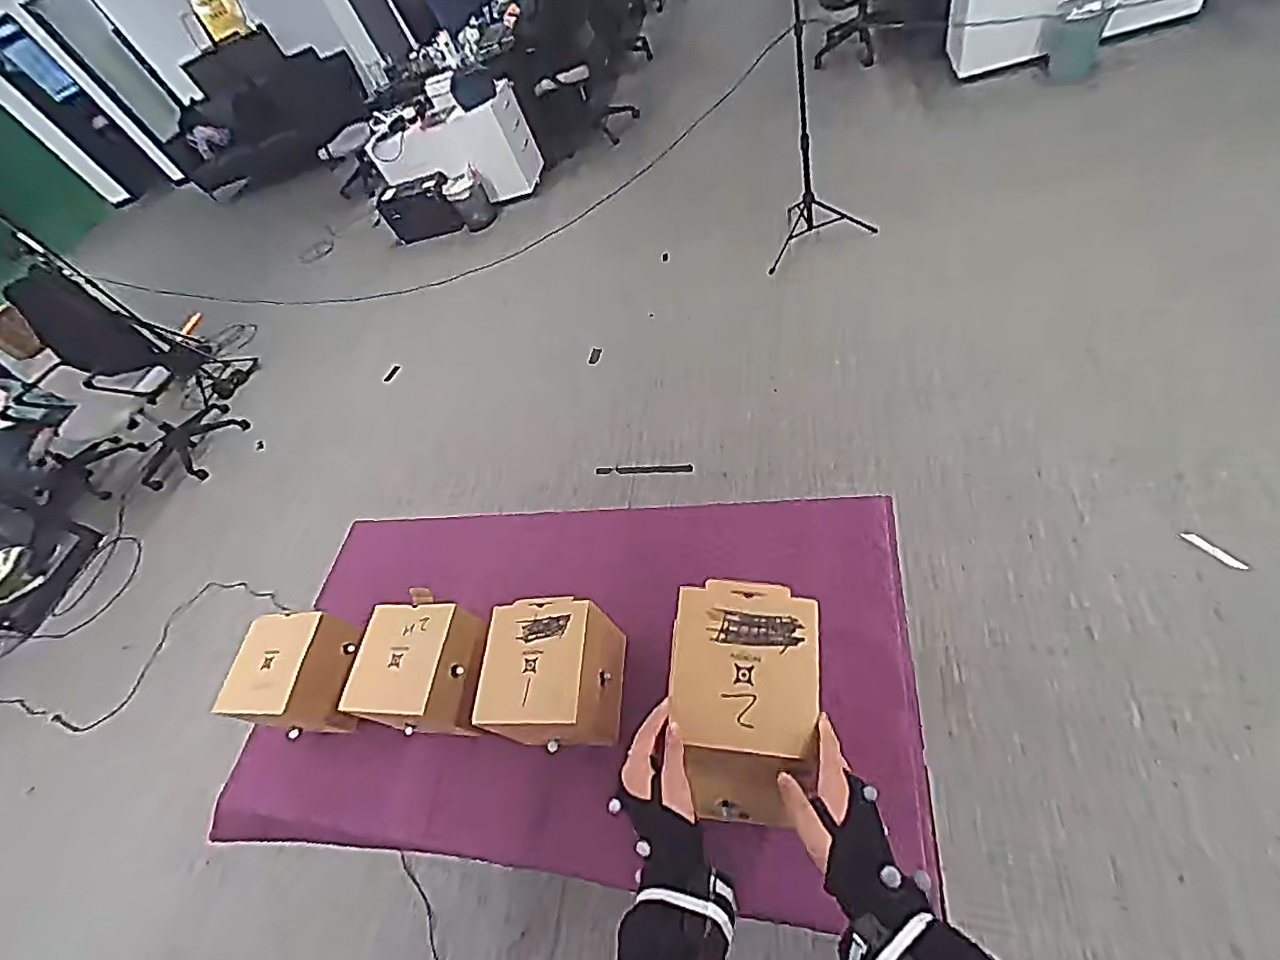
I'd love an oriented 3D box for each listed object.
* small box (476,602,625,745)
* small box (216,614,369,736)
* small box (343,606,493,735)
[{"bbox_3d":[-0.129,0.310,0.857,0.168,0.176,0.179,-8,54,16],"label":"small box"},{"bbox_3d":[-0.619,0.365,1.011,0.168,0.176,0.179,-7,53,17],"label":"small box"},{"bbox_3d":[-0.358,0.330,0.932,0.168,0.176,0.179,-5,54,18],"label":"small box"}]
